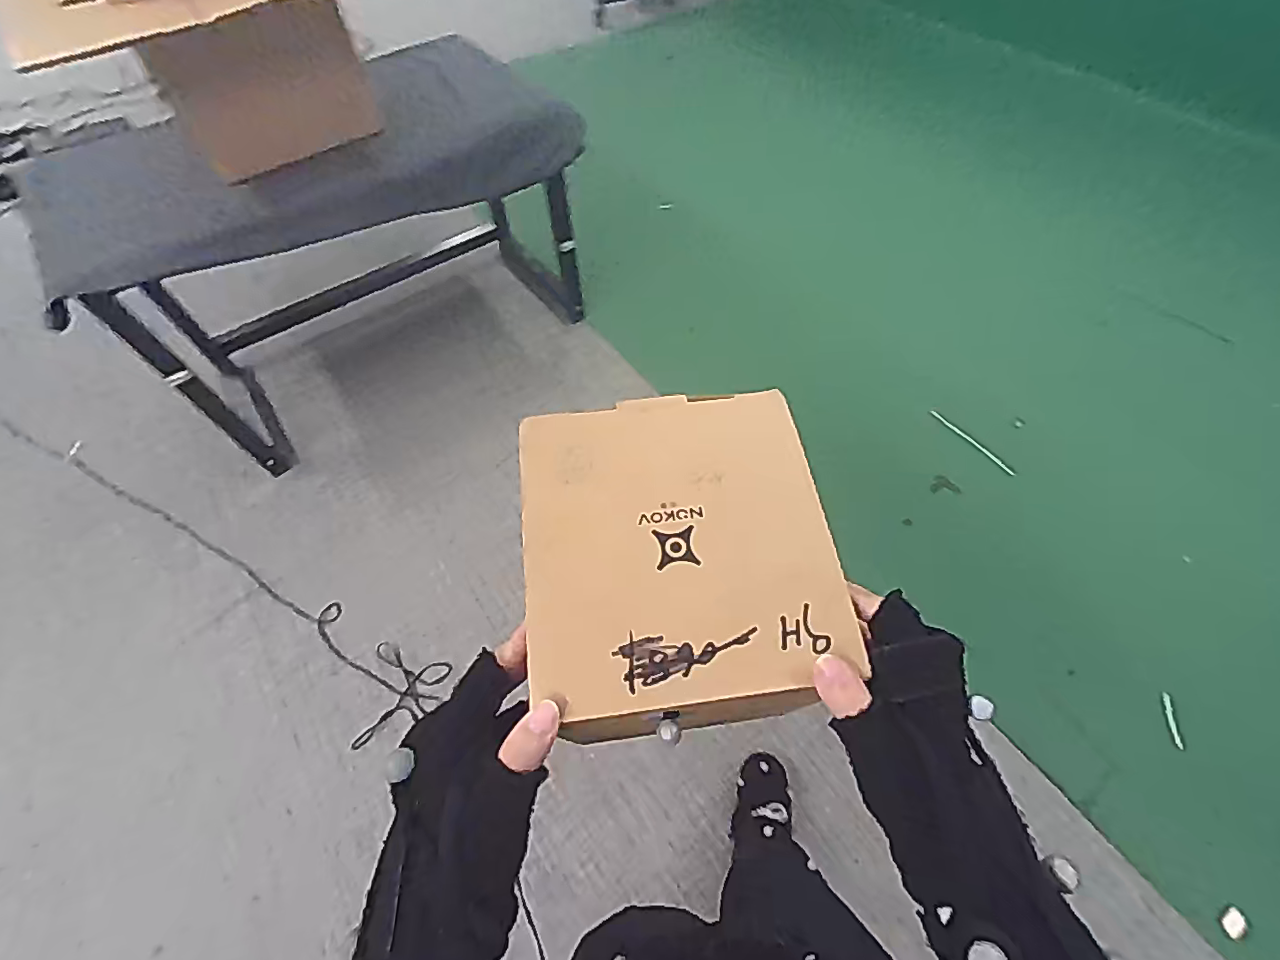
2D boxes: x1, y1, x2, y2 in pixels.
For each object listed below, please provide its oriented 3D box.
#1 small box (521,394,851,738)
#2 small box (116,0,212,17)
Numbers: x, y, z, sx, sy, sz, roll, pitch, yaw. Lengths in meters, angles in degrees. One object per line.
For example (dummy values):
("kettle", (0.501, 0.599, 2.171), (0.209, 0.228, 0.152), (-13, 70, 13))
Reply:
("small box", (0.016, 0.067, 0.375), (0.168, 0.176, 0.179), (-8, 61, -2))
("small box", (-0.940, -0.999, 1.007), (0.168, 0.176, 0.179), (-32, 62, -17))
